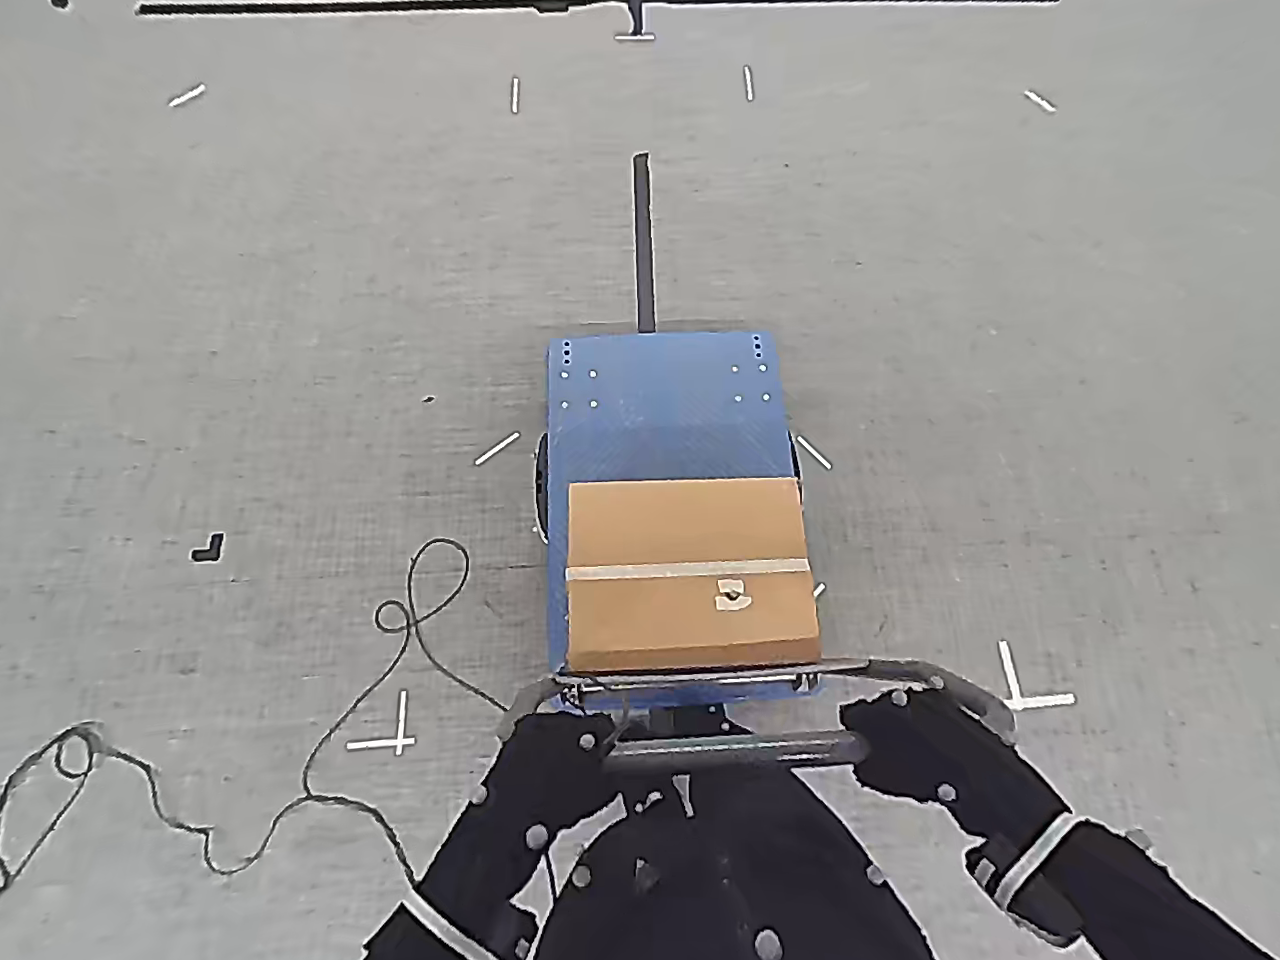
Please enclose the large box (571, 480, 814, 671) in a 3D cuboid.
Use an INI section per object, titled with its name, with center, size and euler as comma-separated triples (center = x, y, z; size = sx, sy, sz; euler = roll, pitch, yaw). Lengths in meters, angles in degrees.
[large box]
center = 0.076, 0.198, 1.064
size = 0.408, 0.320, 0.320
euler = -2, 73, -3
